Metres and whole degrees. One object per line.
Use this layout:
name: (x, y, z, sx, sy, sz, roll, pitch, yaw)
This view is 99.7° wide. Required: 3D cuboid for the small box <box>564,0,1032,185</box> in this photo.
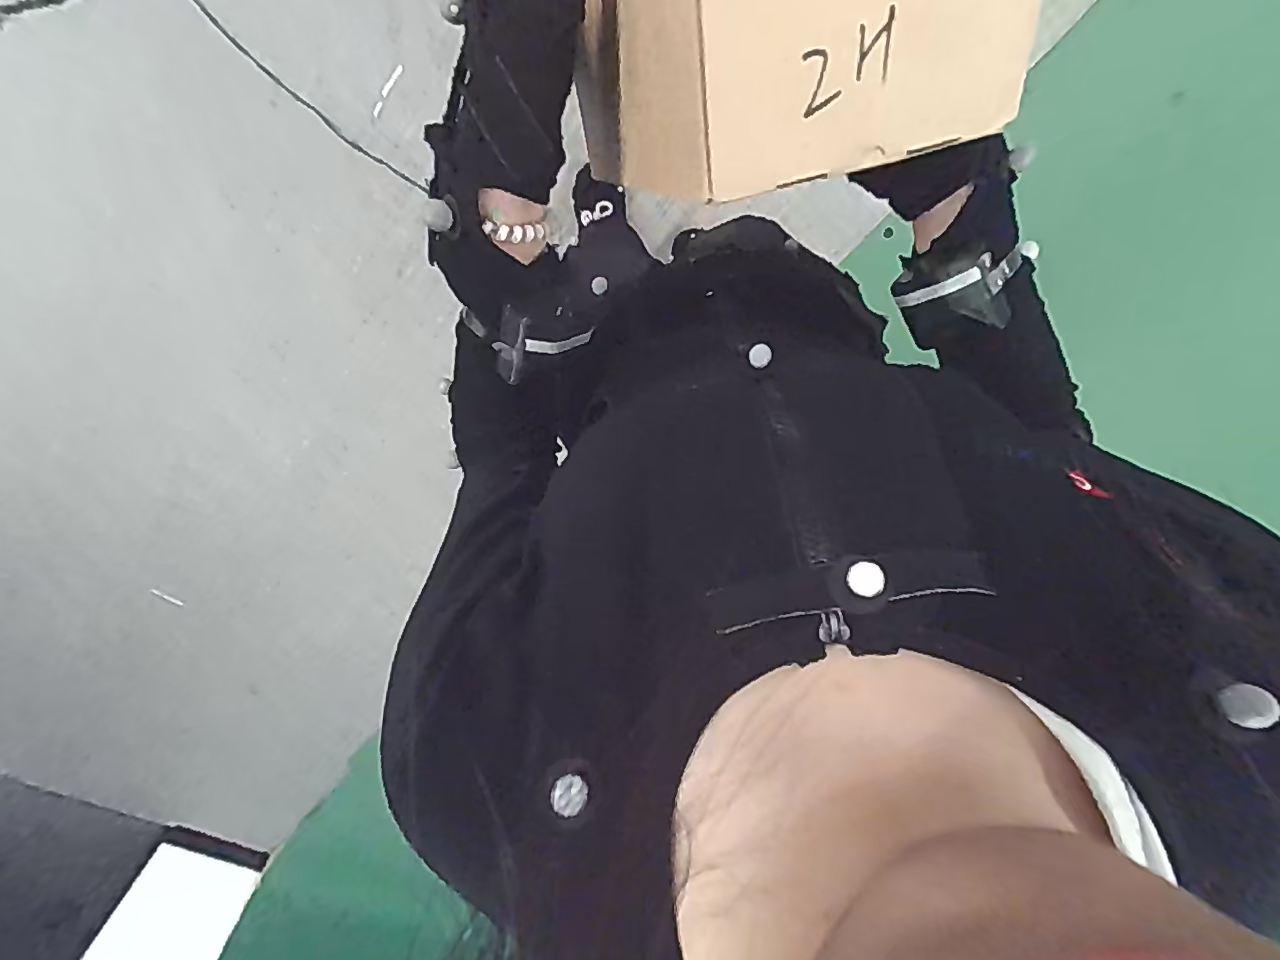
small box: (0.060, -0.258, 0.256, 0.168, 0.176, 0.179, -20, 129, -13)
